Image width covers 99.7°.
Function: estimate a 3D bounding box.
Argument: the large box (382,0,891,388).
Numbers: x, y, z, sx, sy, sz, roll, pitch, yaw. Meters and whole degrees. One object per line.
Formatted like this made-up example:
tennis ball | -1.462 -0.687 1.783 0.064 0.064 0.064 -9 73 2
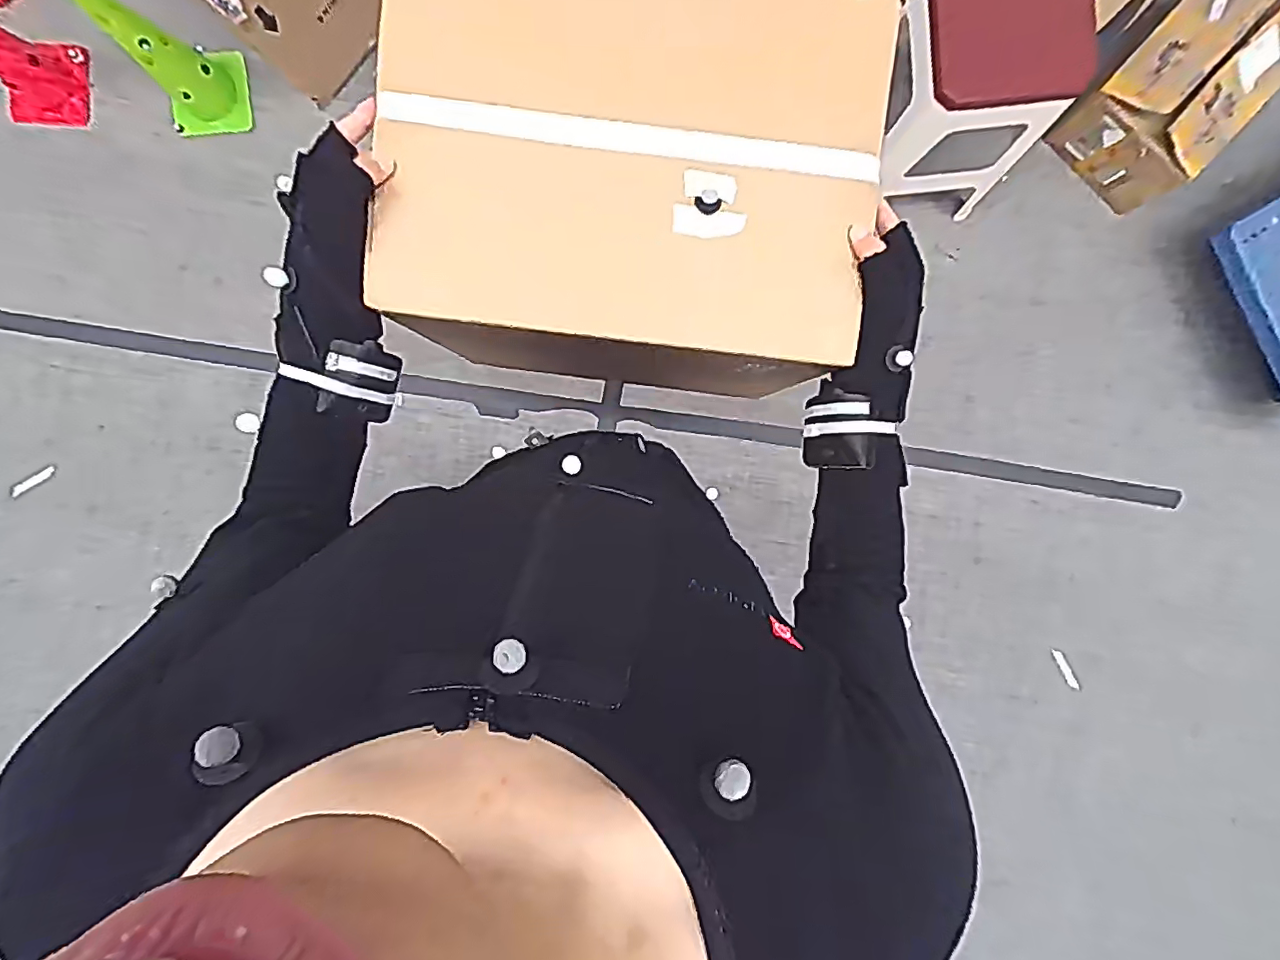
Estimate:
large box | -0.009 -0.289 0.593 0.408 0.320 0.320 6 93 -2
